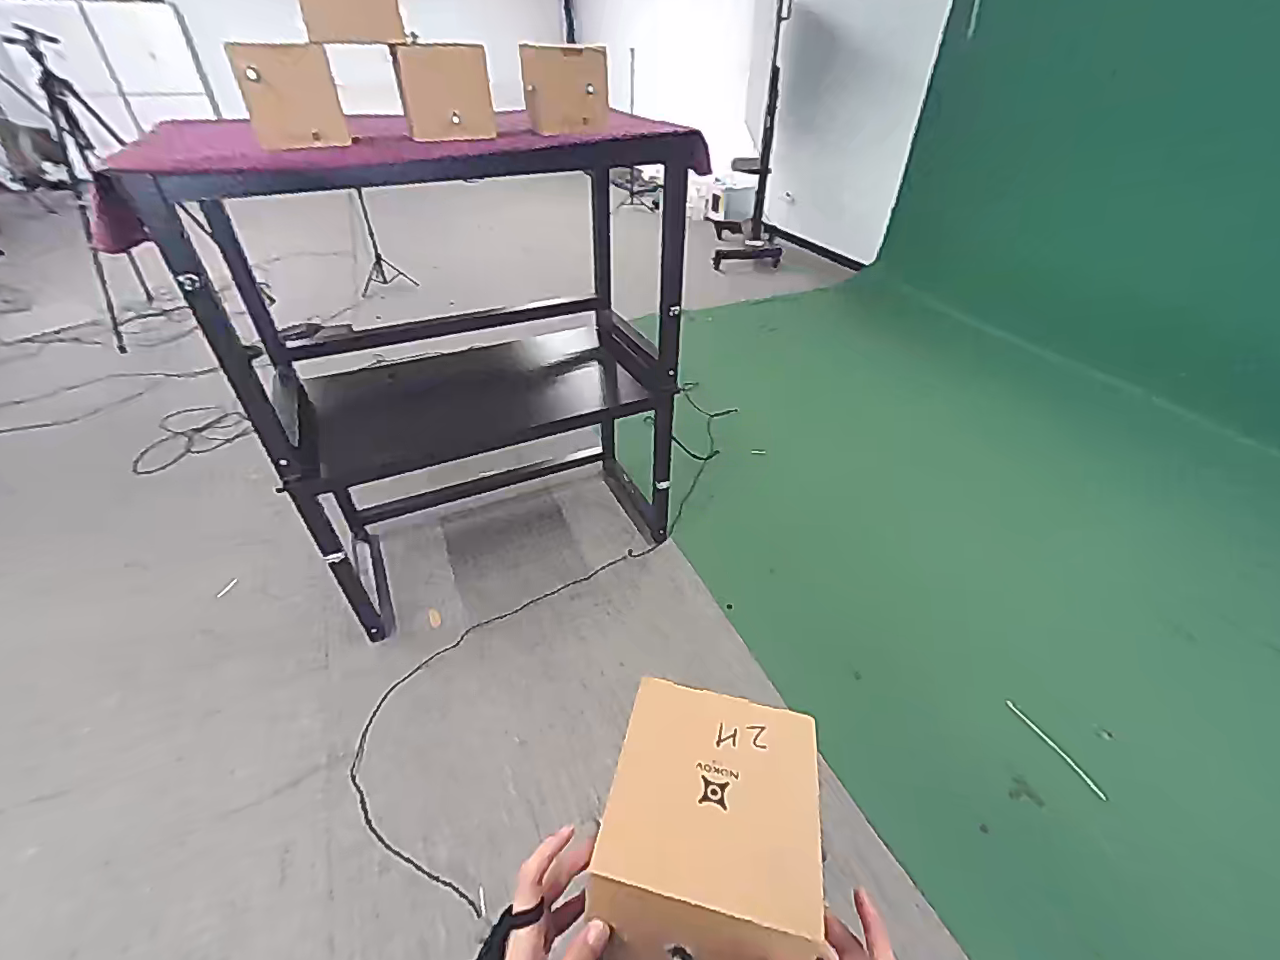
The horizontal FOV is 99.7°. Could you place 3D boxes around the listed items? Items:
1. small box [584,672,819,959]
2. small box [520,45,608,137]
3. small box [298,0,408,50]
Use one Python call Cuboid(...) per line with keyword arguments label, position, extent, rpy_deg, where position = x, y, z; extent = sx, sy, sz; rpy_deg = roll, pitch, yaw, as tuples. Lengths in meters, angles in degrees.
Cuboid(label="small box", position=(0.055, 0.310, 0.479), extent=(0.168, 0.176, 0.179), rpy_deg=(11, 32, 9))
Cuboid(label="small box", position=(-0.178, -0.923, 1.285), extent=(0.168, 0.176, 0.179), rpy_deg=(-14, 41, -17))
Cuboid(label="small box", position=(-0.563, -0.938, 1.038), extent=(0.179, 0.176, 0.168), rpy_deg=(-15, 41, -19))
